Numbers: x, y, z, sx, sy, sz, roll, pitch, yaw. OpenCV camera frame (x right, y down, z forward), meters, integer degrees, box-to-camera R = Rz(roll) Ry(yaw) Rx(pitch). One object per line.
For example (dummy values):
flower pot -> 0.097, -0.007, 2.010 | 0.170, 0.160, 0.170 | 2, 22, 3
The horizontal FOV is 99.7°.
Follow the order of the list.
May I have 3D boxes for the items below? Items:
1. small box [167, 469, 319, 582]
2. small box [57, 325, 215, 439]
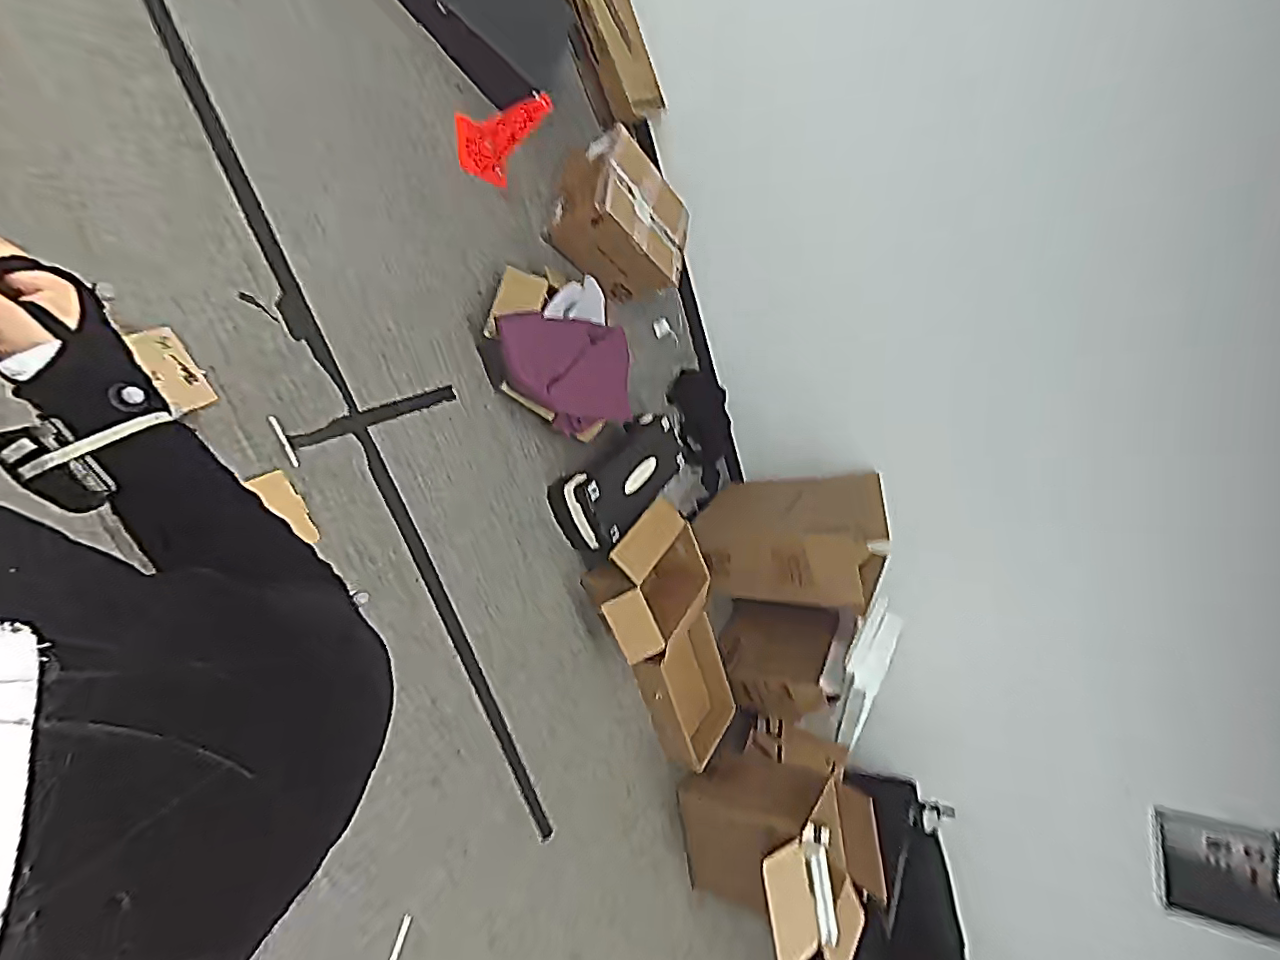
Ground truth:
small box -> -0.807, 0.089, 1.101 | 0.179, 0.176, 0.168 | -37, 114, -46
small box -> -1.032, -0.195, 1.107 | 0.179, 0.176, 0.168 | -43, 119, -44
